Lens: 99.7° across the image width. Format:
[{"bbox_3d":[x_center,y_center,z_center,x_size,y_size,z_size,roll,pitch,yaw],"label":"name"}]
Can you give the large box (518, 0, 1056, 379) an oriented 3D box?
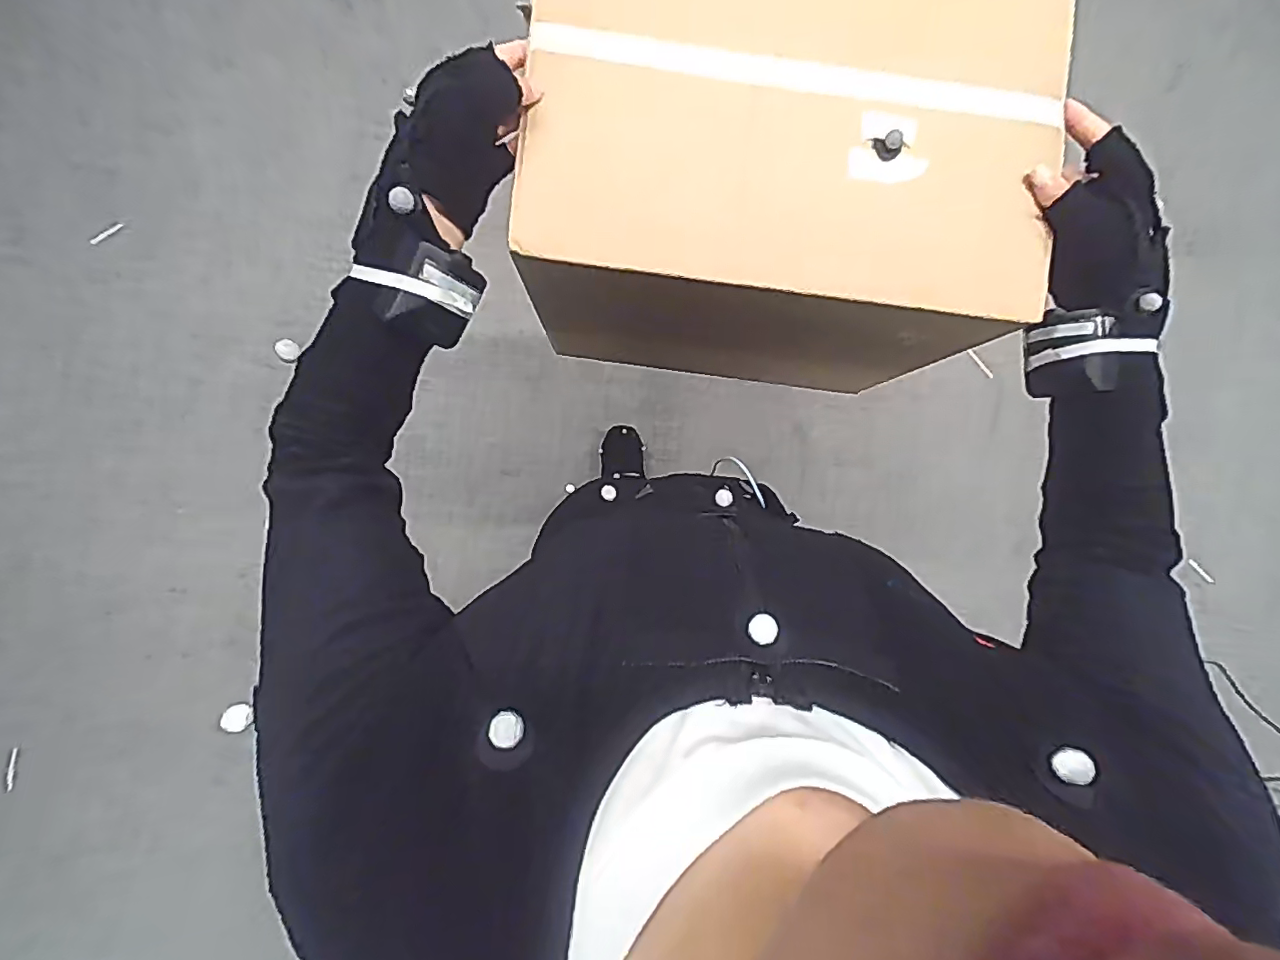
[{"bbox_3d":[0.110,-0.303,0.562,0.408,0.320,0.320,6,90,-2],"label":"large box"}]
